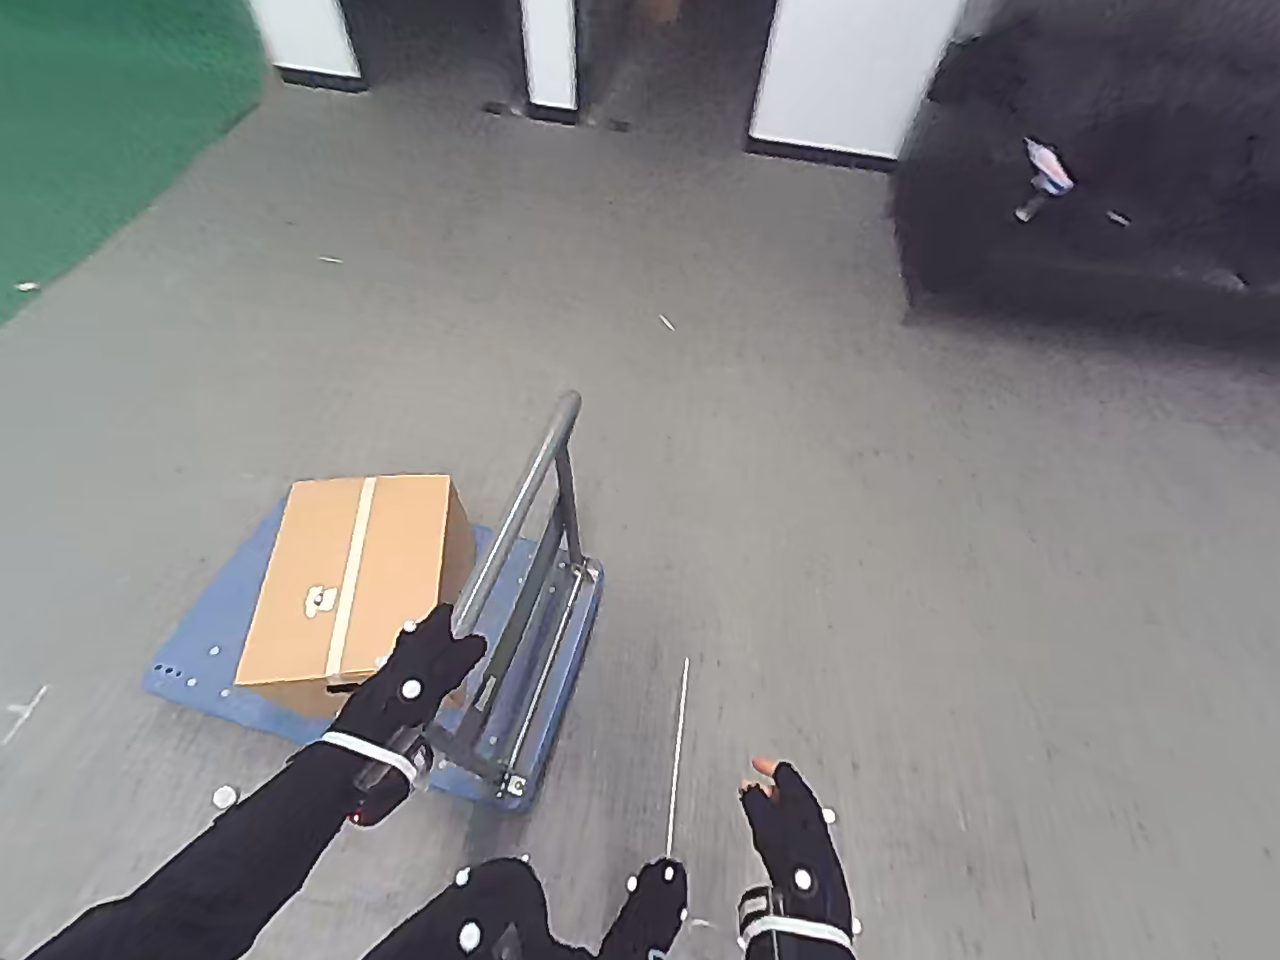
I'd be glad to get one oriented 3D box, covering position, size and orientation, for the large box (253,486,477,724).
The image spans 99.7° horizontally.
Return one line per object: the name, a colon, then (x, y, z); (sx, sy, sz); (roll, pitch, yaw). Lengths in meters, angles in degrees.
large box: (-0.533, 0.265, 1.150); (0.320, 0.320, 0.408); (-3, 57, -7)
